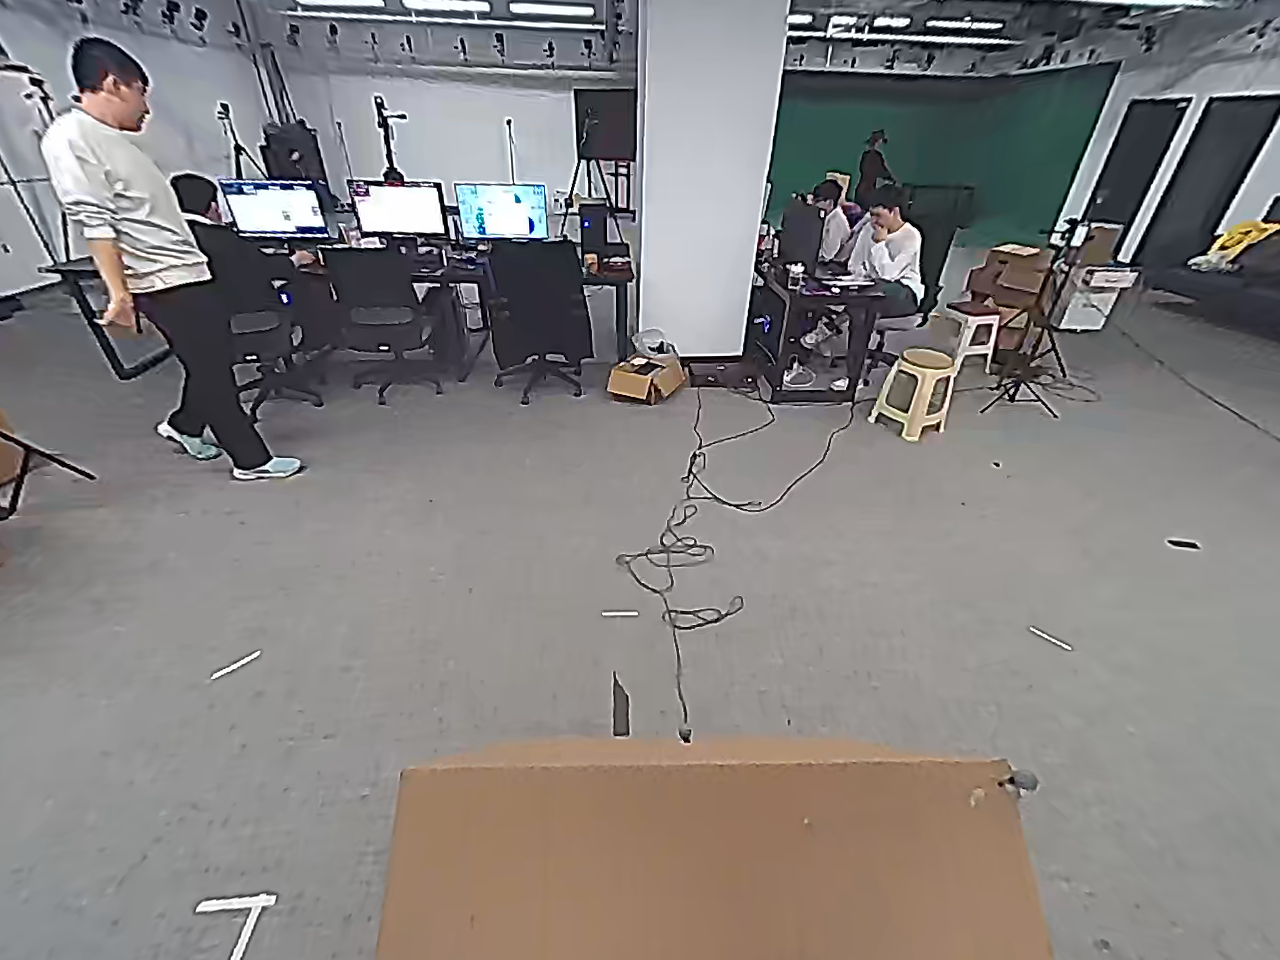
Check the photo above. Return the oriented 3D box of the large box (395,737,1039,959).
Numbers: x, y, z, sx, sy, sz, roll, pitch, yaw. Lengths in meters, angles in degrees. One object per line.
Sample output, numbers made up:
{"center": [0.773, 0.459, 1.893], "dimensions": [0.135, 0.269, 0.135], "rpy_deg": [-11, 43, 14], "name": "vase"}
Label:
{"center": [0.045, 0.397, 0.452], "dimensions": [0.408, 0.320, 0.320], "rpy_deg": [-1, 69, -1], "name": "large box"}
